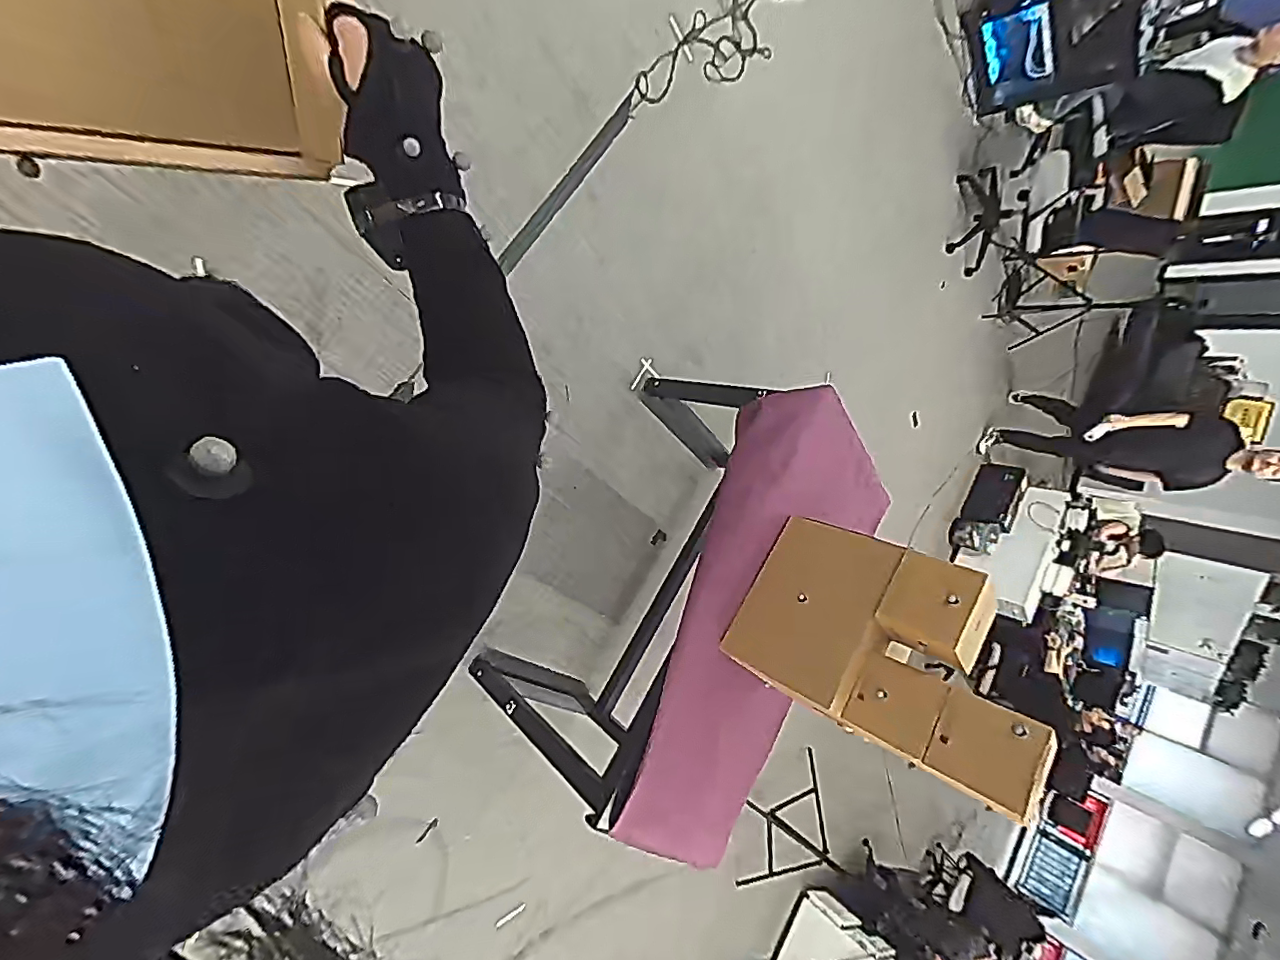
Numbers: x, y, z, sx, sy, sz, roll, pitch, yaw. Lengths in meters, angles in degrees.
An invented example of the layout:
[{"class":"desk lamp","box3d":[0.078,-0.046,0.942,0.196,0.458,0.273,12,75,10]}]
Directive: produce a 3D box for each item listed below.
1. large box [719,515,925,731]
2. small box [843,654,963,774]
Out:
[{"class":"large box","box3d":[0.468,0.359,1.381,0.320,0.320,0.408,44,71,-42]},{"class":"small box","box3d":[0.571,0.503,1.176,0.179,0.176,0.168,44,71,-41]}]
